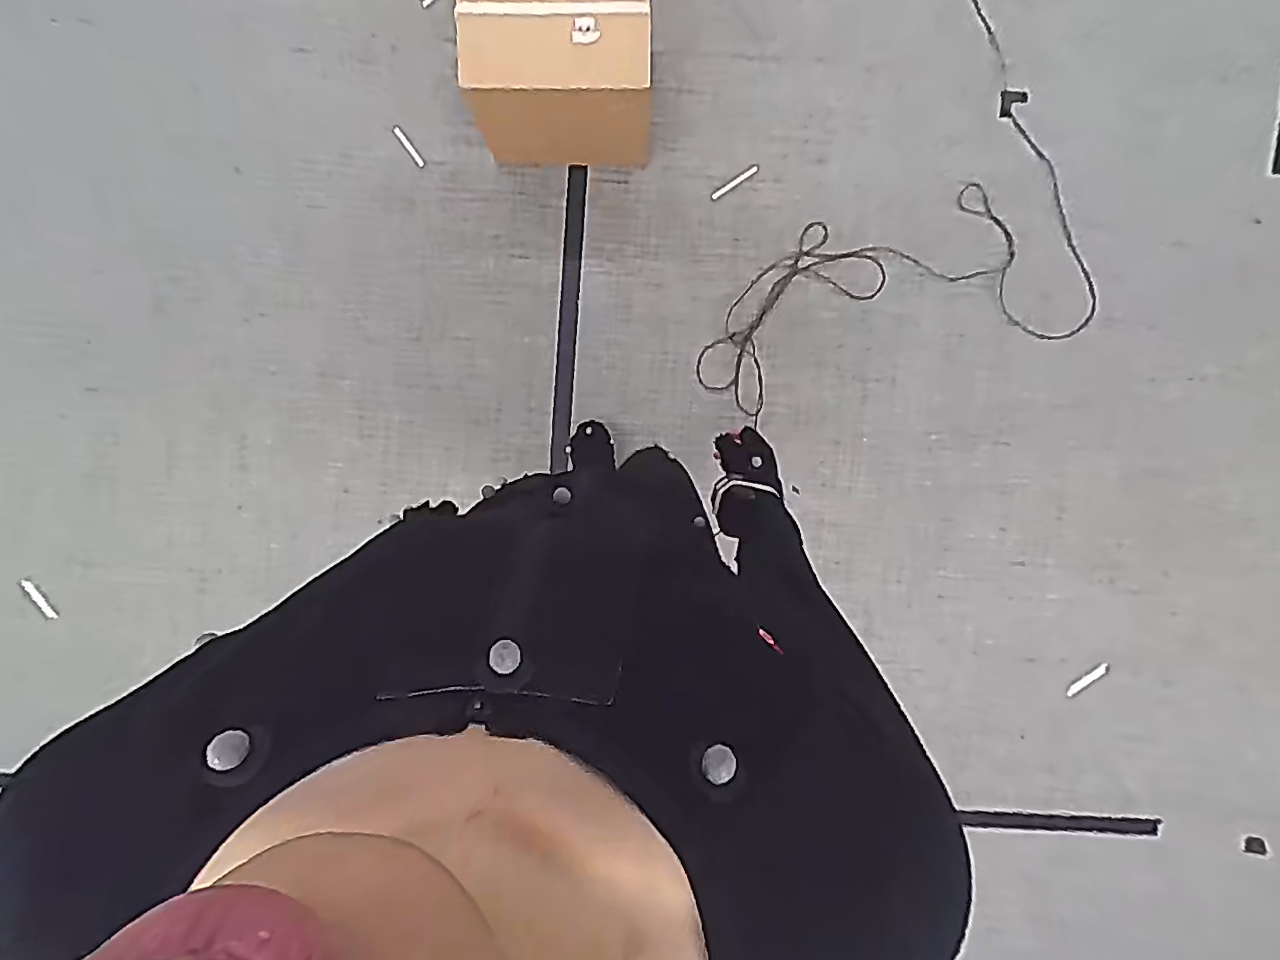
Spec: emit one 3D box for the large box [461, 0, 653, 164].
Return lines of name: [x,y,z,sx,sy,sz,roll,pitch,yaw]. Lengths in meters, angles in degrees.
large box: [-0.178,-0.981,1.274,0.408,0.320,0.320,0,94,-1]
